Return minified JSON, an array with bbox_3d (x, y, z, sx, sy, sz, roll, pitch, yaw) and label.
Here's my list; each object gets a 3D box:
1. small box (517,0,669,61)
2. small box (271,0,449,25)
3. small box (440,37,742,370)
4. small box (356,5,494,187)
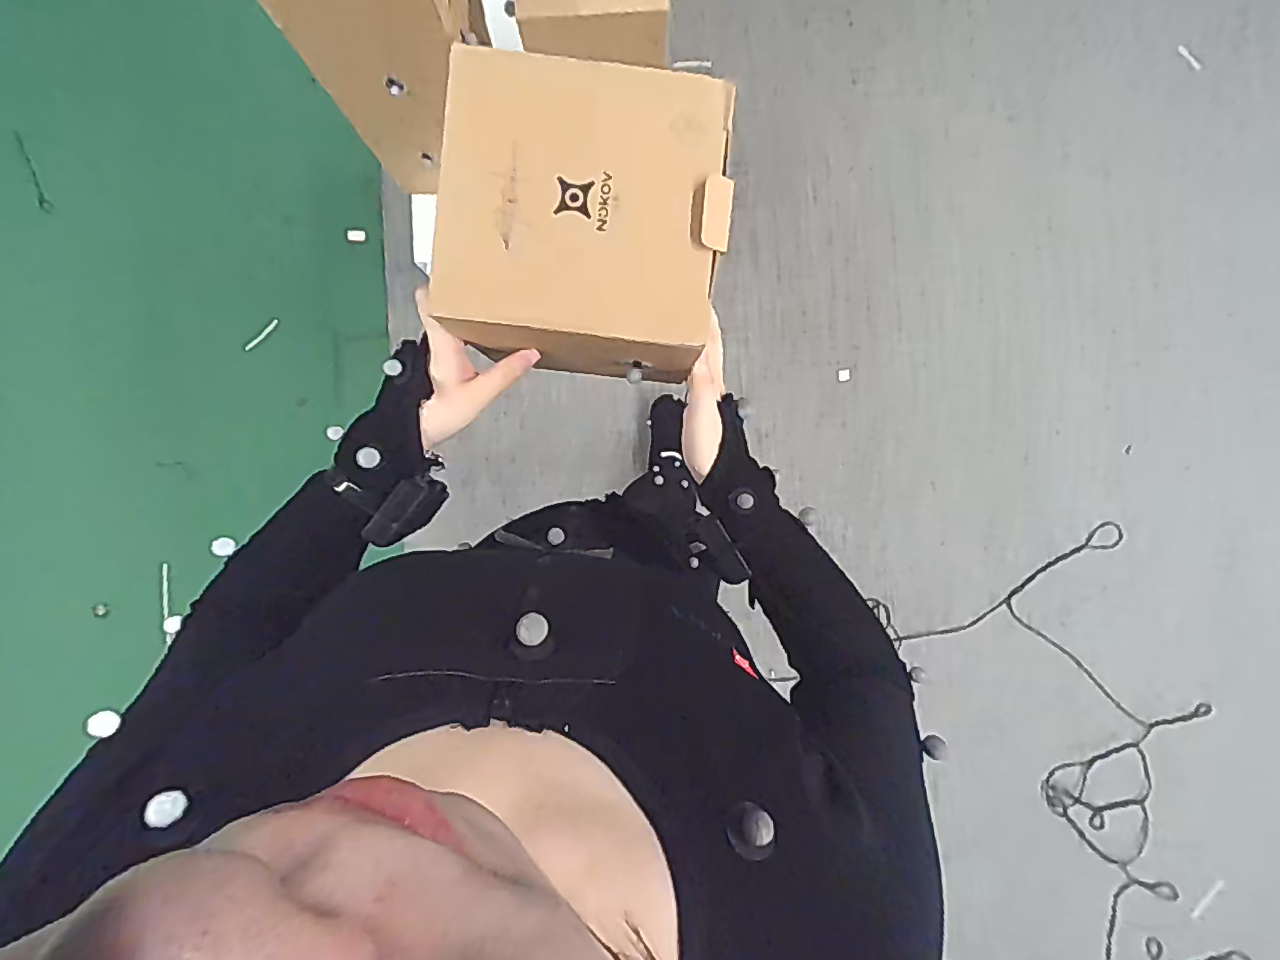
[{"bbox_3d":[-0.054,-0.583,0.652,0.168,0.176,0.179,-4,91,-1],"label":"small box"},{"bbox_3d":[-0.286,-0.555,0.484,0.179,0.176,0.168,-2,91,-3],"label":"small box"},{"bbox_3d":[-0.032,-0.185,0.417,0.179,0.176,0.168,6,92,0],"label":"small box"},{"bbox_3d":[-0.298,-0.561,0.811,0.179,0.176,0.168,-1,91,-4],"label":"small box"}]
